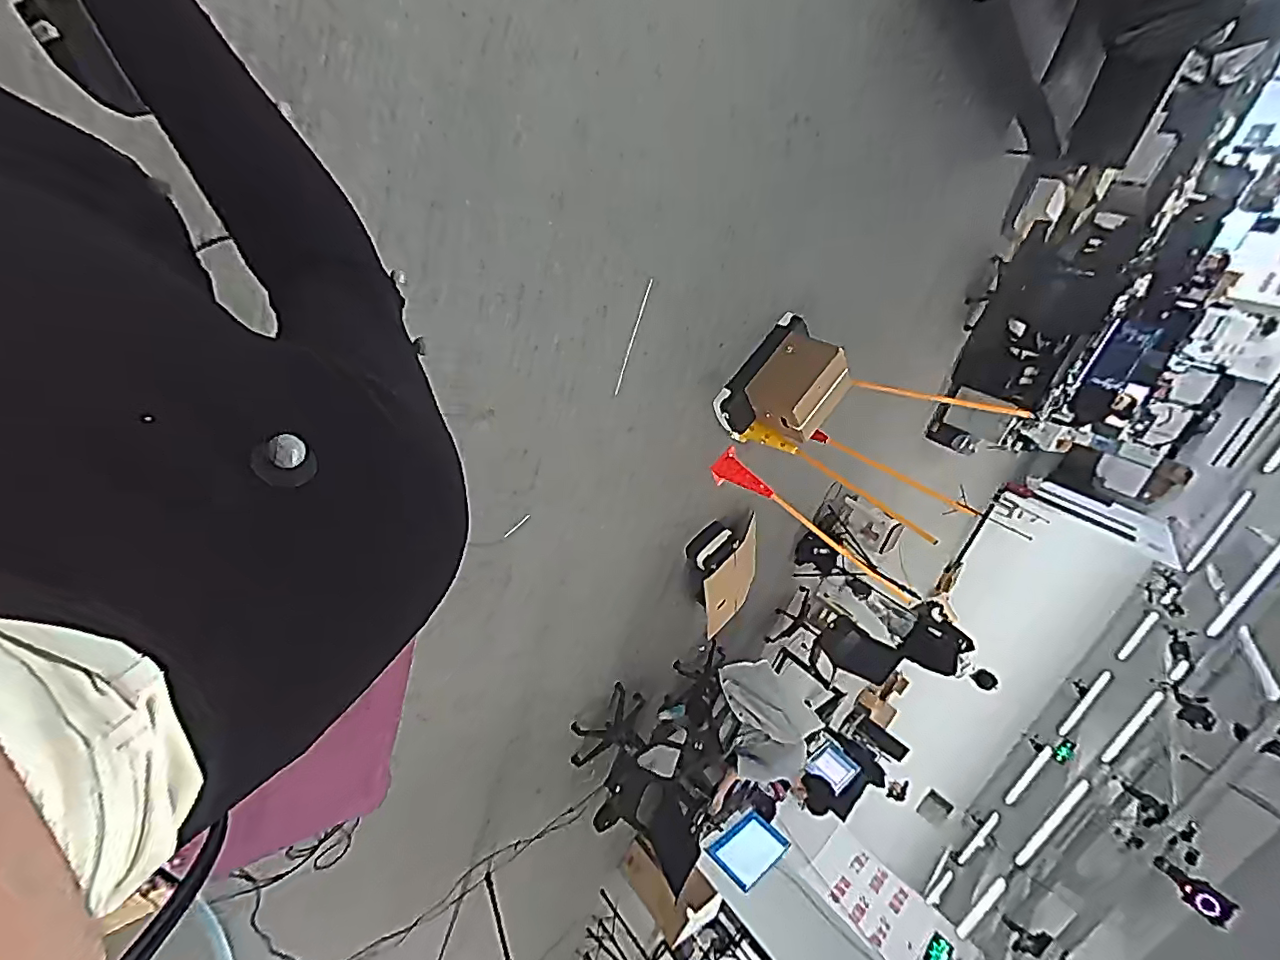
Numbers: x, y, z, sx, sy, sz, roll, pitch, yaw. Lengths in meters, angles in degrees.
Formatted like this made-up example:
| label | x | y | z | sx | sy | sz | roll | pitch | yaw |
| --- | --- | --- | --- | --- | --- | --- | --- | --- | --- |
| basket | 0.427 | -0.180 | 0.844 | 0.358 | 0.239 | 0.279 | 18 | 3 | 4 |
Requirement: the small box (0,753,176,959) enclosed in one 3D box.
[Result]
| label | x | y | z | sx | sy | sz | roll | pitch | yaw |
| --- | --- | --- | --- | --- | --- | --- | --- | --- | --- |
| small box | -0.853 | 0.575 | 0.845 | 0.179 | 0.176 | 0.168 | -7 | 123 | -44 |
